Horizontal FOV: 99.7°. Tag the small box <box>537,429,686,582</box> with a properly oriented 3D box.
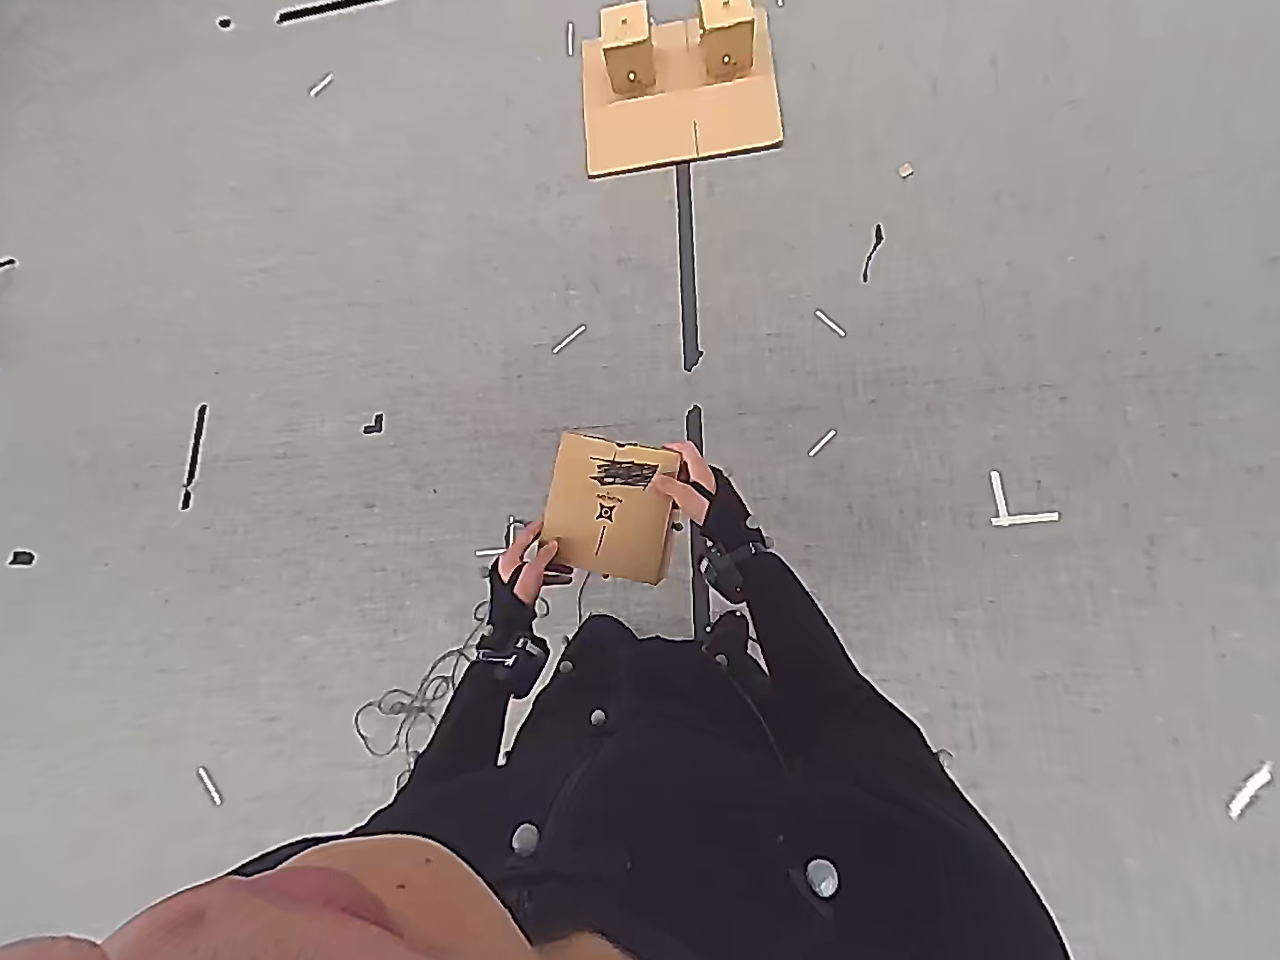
[{"bbox_3d":[-0.030,0.040,0.779,0.168,0.176,0.179,11,85,9],"label":"small box"}]

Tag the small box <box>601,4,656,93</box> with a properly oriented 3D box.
[{"bbox_3d":[-0.039,-1.545,1.943,0.168,0.176,0.179,-6,78,9],"label":"small box"}]

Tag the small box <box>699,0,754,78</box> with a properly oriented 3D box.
[{"bbox_3d":[0.301,-1.571,1.899,0.168,0.176,0.179,-9,77,7],"label":"small box"}]
